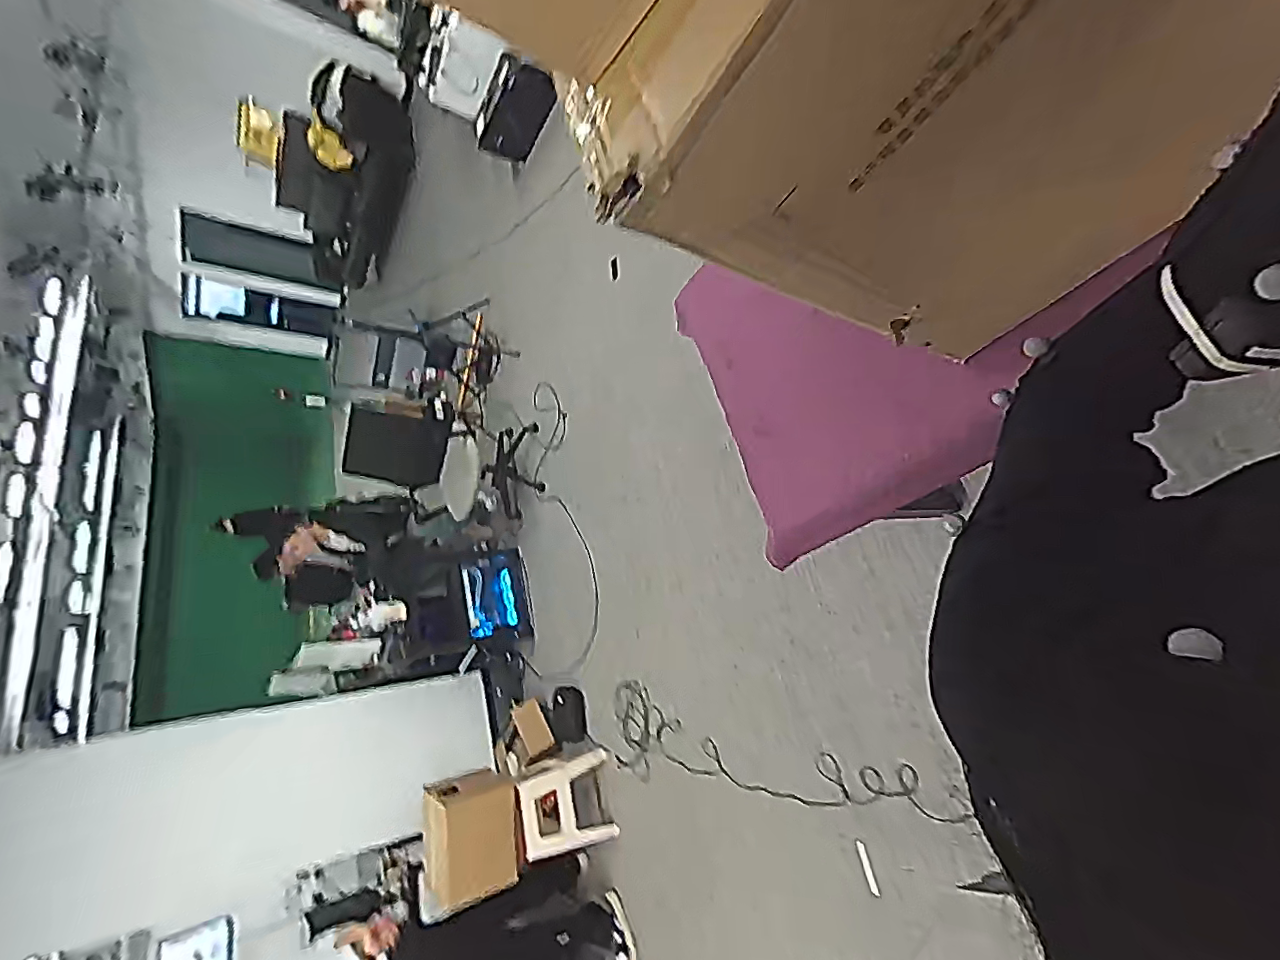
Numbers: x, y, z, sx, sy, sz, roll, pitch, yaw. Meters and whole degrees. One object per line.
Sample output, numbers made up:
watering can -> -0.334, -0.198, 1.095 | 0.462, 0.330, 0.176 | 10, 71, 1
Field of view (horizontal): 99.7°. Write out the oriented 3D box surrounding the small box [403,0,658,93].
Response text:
small box -> -0.061, -0.392, 0.319 | 0.179, 0.176, 0.168 | -22, 73, 48
